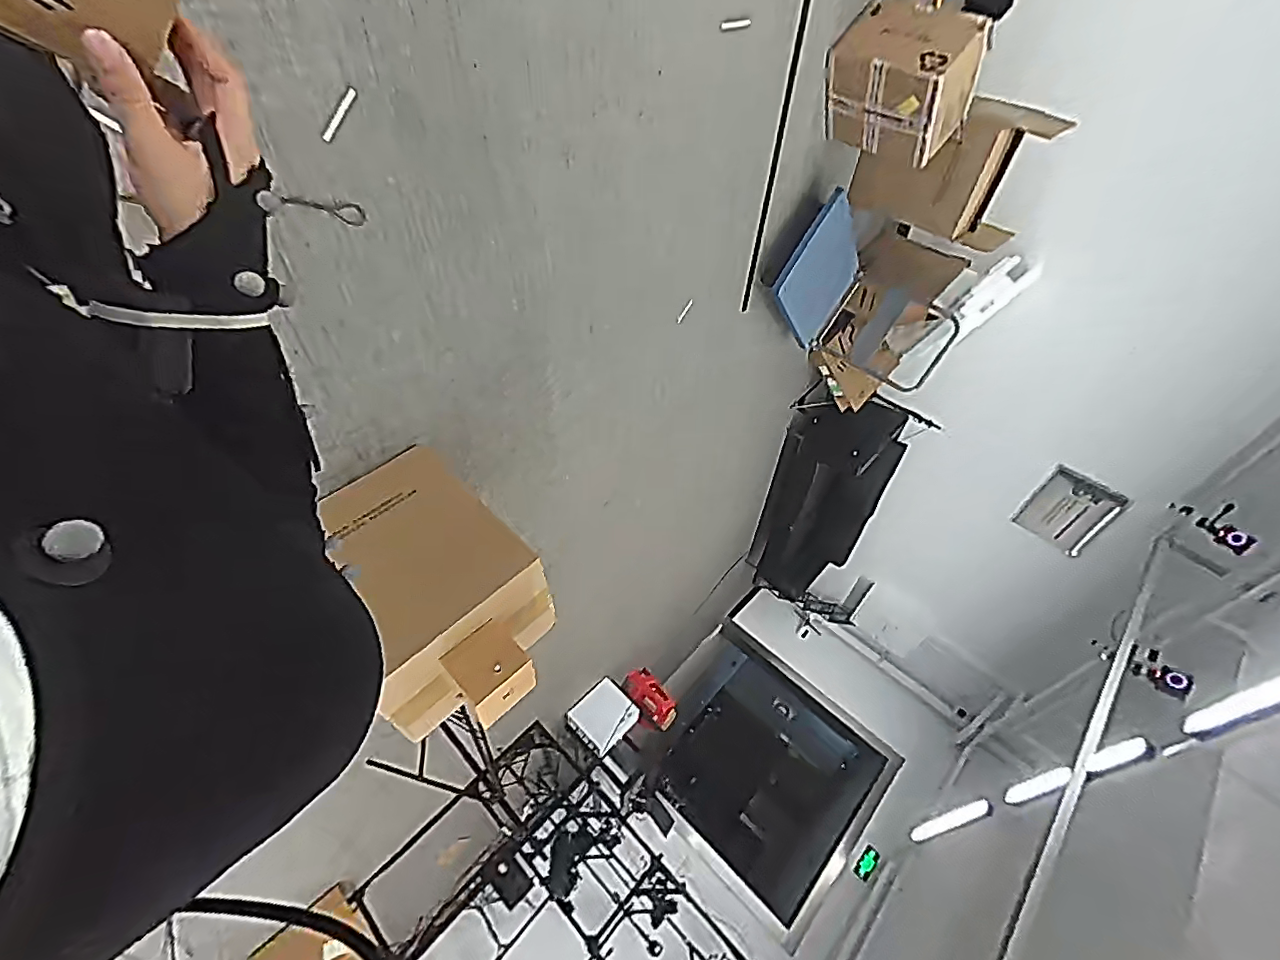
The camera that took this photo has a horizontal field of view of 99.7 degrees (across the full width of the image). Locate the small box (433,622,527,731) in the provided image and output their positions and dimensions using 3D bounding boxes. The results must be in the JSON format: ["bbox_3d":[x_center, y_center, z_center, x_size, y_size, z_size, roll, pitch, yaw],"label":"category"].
[{"bbox_3d":[-0.424,0.515,1.429,0.179,0.176,0.168,-37,149,-33],"label":"small box"}]
